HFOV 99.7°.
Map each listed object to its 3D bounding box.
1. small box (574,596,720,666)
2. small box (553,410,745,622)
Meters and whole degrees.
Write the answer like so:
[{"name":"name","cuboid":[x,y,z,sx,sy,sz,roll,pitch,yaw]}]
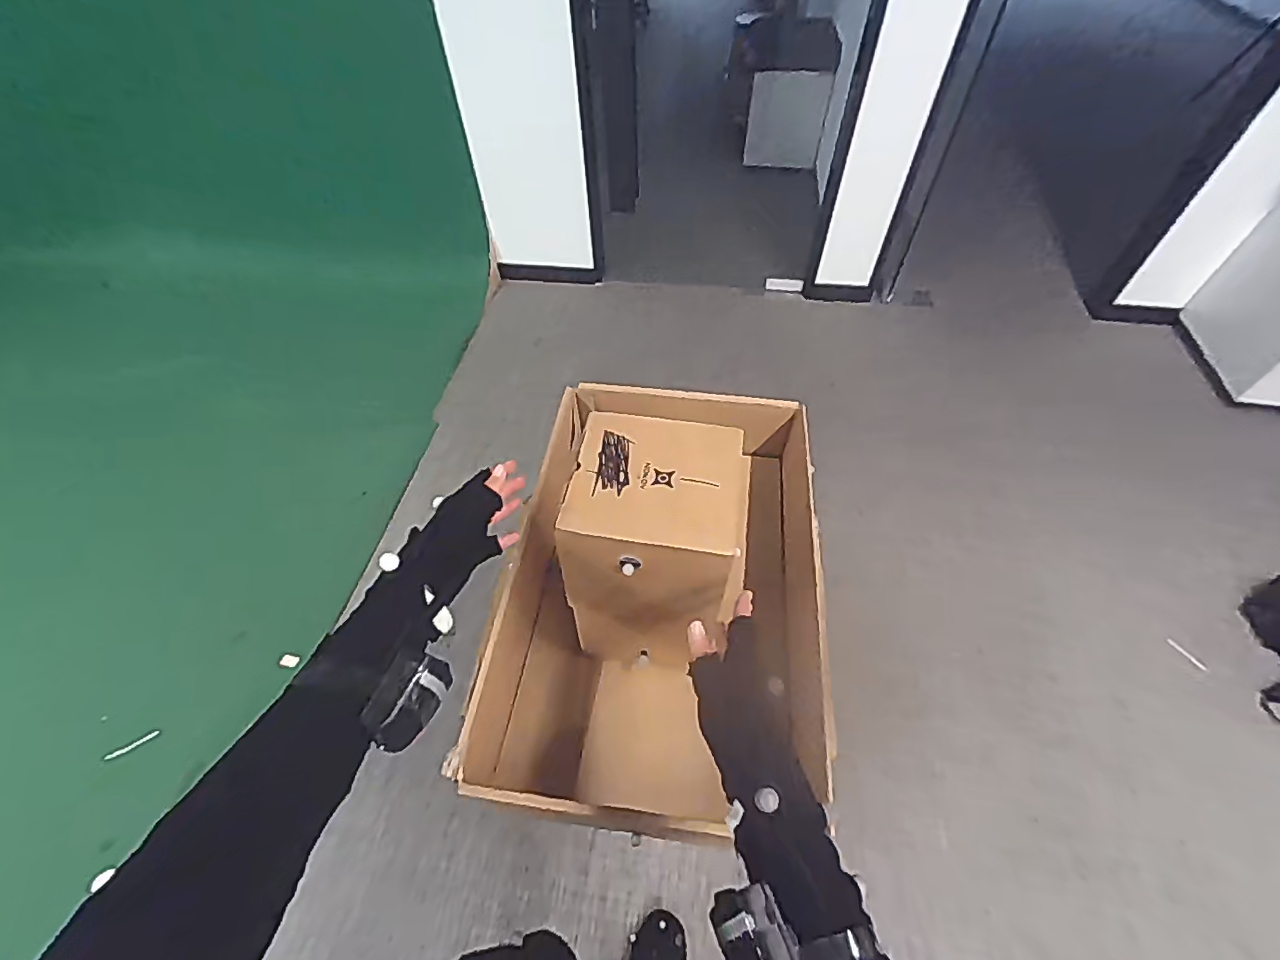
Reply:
[{"name":"small box","cuboid":[0.015,0.143,0.749,0.179,0.176,0.168,6,51,4]},{"name":"small box","cuboid":[0.015,0.045,0.617,0.179,0.176,0.168,9,52,6]}]
